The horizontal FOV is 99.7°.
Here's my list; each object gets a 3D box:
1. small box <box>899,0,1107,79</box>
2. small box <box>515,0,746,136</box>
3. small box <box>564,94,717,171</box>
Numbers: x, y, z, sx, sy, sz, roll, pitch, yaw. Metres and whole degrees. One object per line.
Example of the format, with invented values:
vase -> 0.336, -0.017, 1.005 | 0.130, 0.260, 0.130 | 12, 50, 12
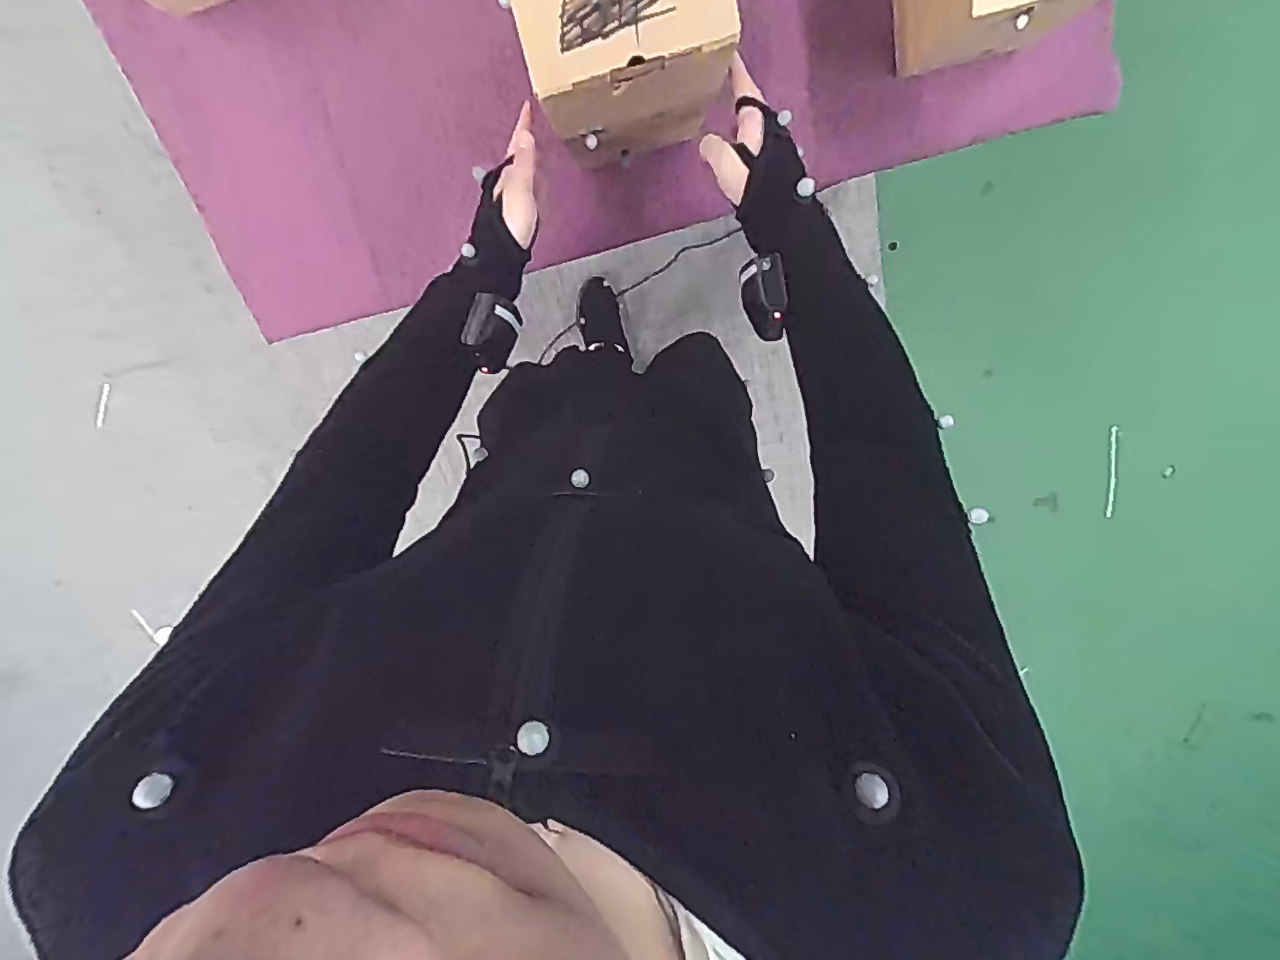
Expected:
small box -> 0.396, -0.581, 0.584 | 0.168, 0.176, 0.179 | -12, 109, 4
small box -> -0.017, -0.417, 0.457 | 0.168, 0.176, 0.179 | -13, 109, 4
small box -> -0.020, -0.477, 0.609 | 0.168, 0.176, 0.179 | -14, 111, 4
